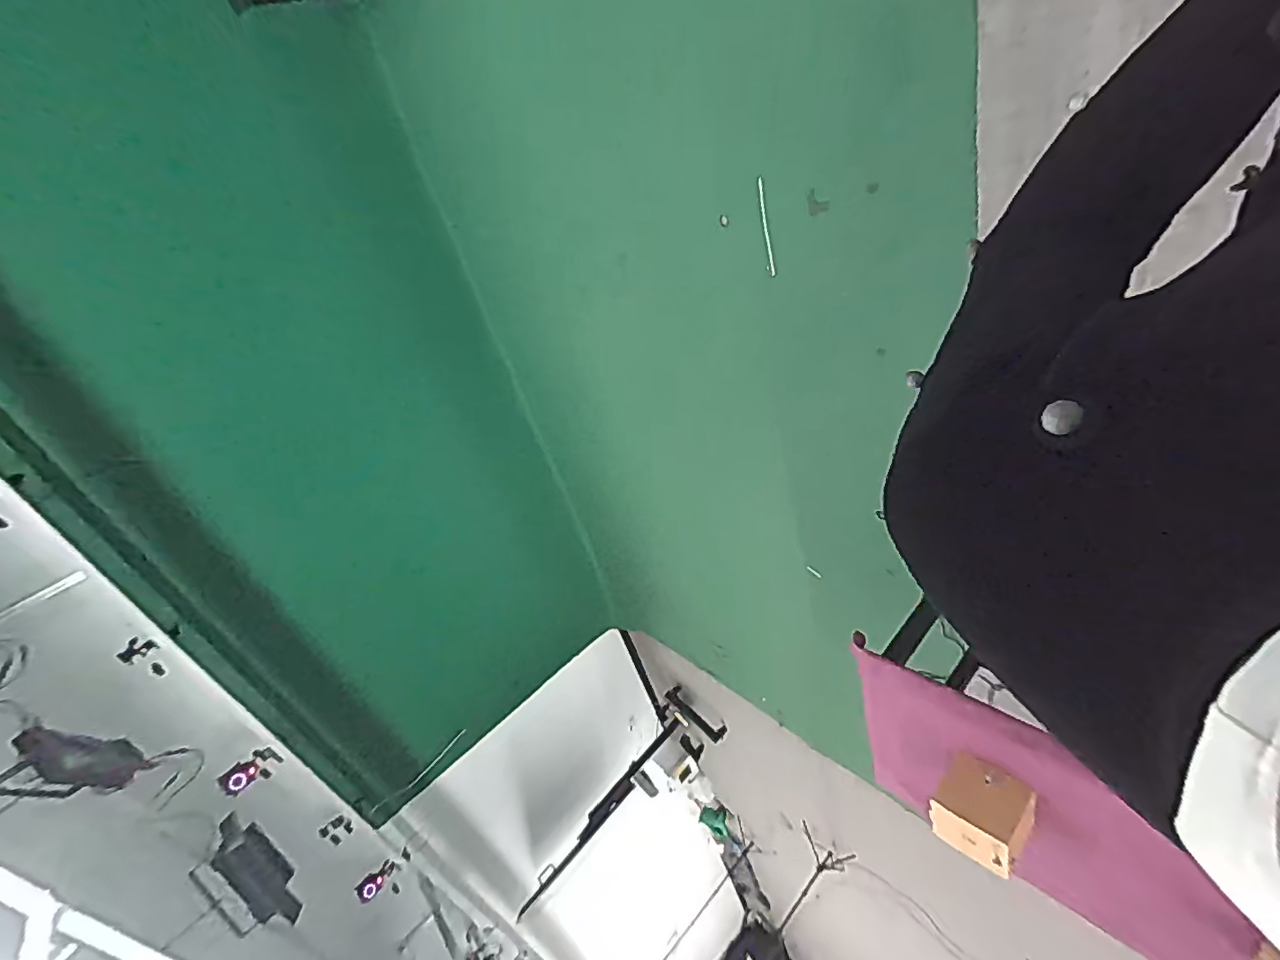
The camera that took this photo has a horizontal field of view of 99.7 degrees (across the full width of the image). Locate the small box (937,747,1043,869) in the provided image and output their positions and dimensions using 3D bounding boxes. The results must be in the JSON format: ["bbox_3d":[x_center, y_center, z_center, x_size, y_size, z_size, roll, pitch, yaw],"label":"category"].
[{"bbox_3d":[0.880,0.814,1.366,0.179,0.176,0.168,18,137,49],"label":"small box"}]

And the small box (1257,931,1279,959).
[{"bbox_3d":[1.236,0.960,0.966,0.179,0.176,0.168,20,139,48],"label":"small box"}]
